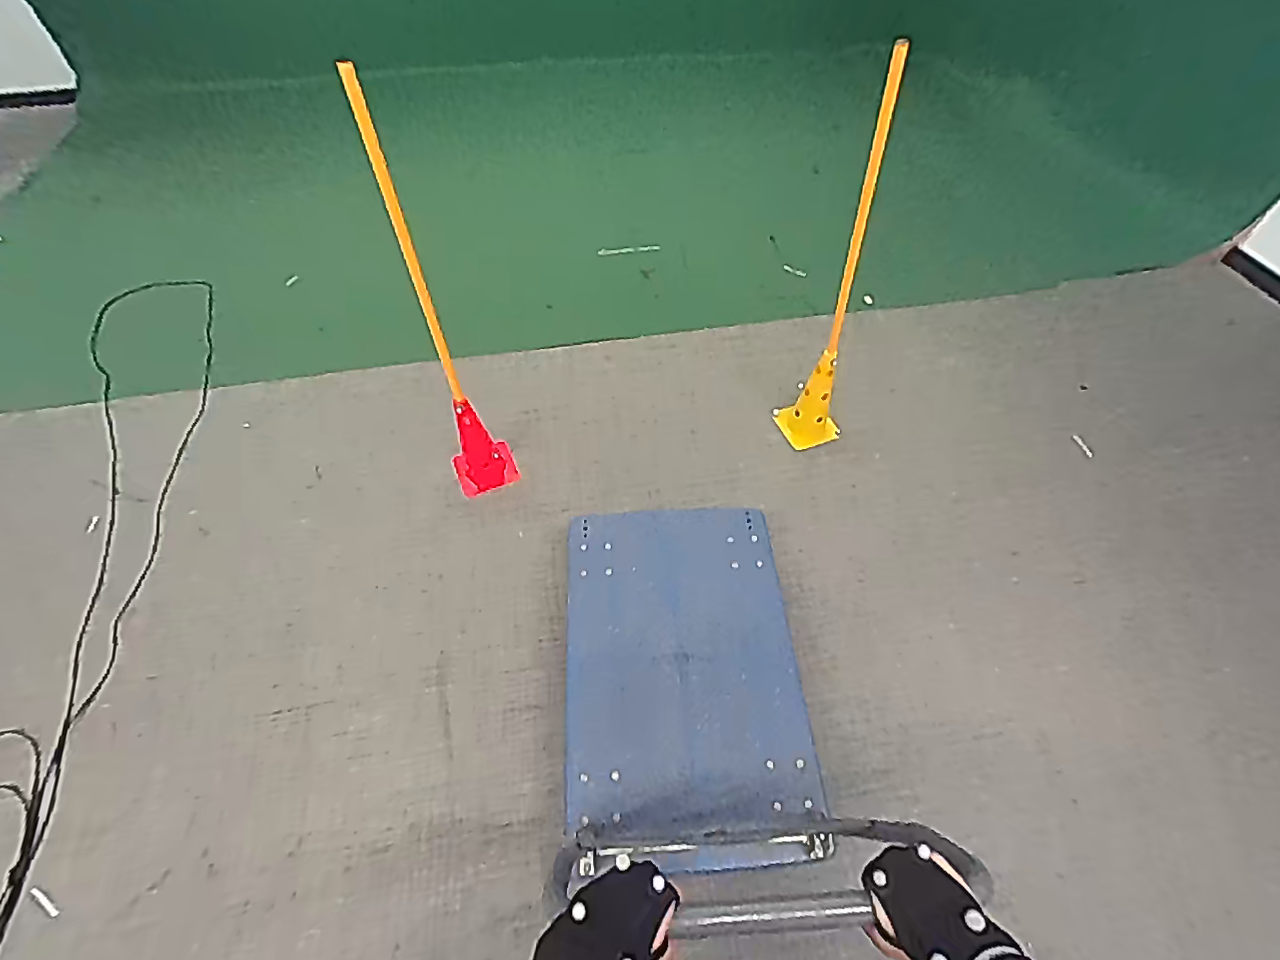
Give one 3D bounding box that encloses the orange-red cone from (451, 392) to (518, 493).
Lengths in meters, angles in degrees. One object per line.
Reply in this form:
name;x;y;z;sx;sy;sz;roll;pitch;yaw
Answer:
orange-red cone;-0.548;-0.150;1.767;0.199;0.360;0.198;-21;57;-13
